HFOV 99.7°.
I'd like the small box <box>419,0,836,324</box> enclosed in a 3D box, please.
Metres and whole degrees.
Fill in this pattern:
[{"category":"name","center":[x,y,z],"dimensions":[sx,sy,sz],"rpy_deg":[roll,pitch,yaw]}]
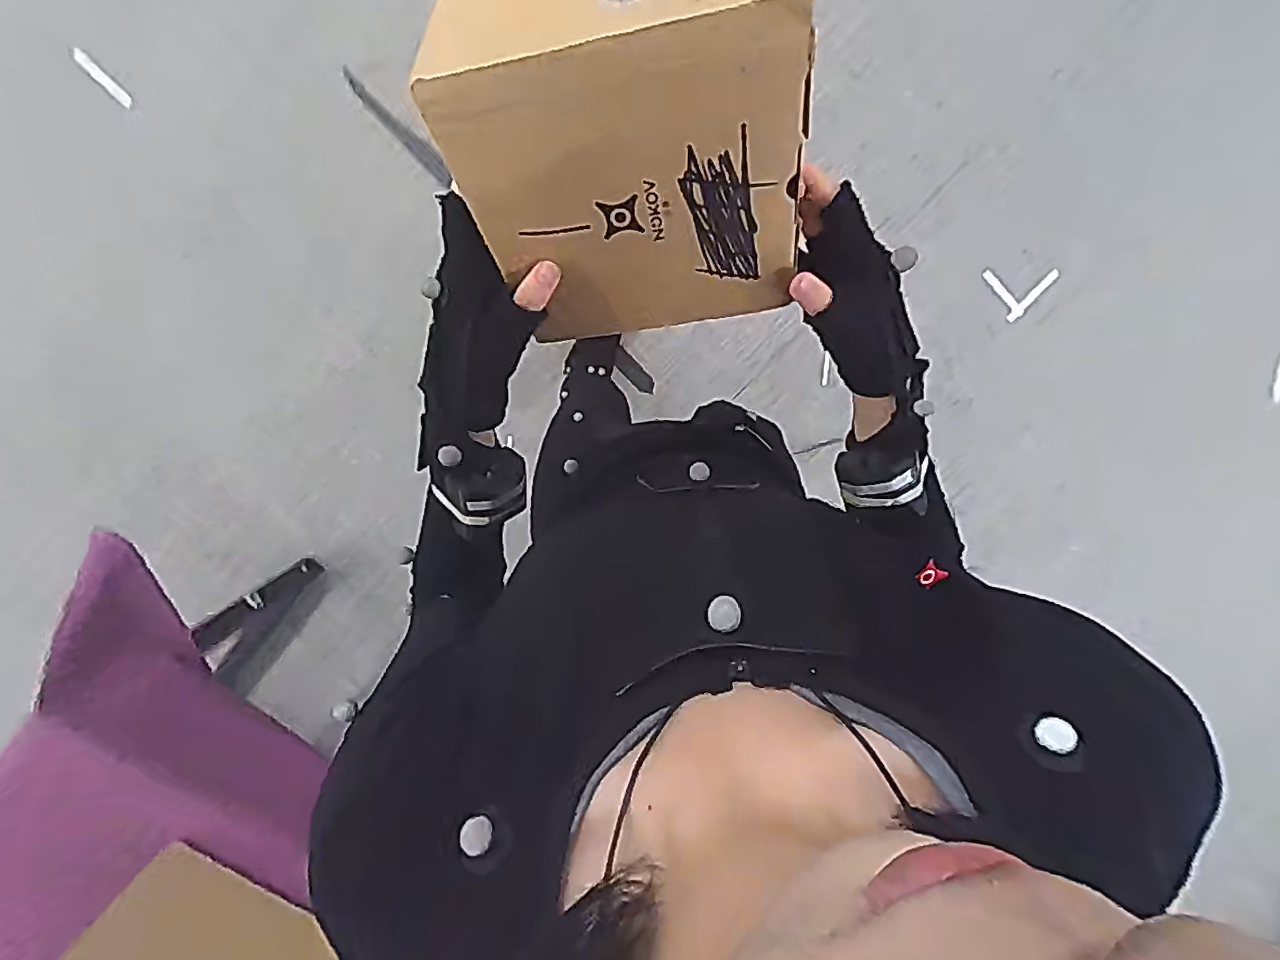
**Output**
[{"category":"small box","center":[0.004,-0.221,0.320],"dimensions":[0.179,0.168,0.176],"rpy_deg":[-4,60,10]}]
